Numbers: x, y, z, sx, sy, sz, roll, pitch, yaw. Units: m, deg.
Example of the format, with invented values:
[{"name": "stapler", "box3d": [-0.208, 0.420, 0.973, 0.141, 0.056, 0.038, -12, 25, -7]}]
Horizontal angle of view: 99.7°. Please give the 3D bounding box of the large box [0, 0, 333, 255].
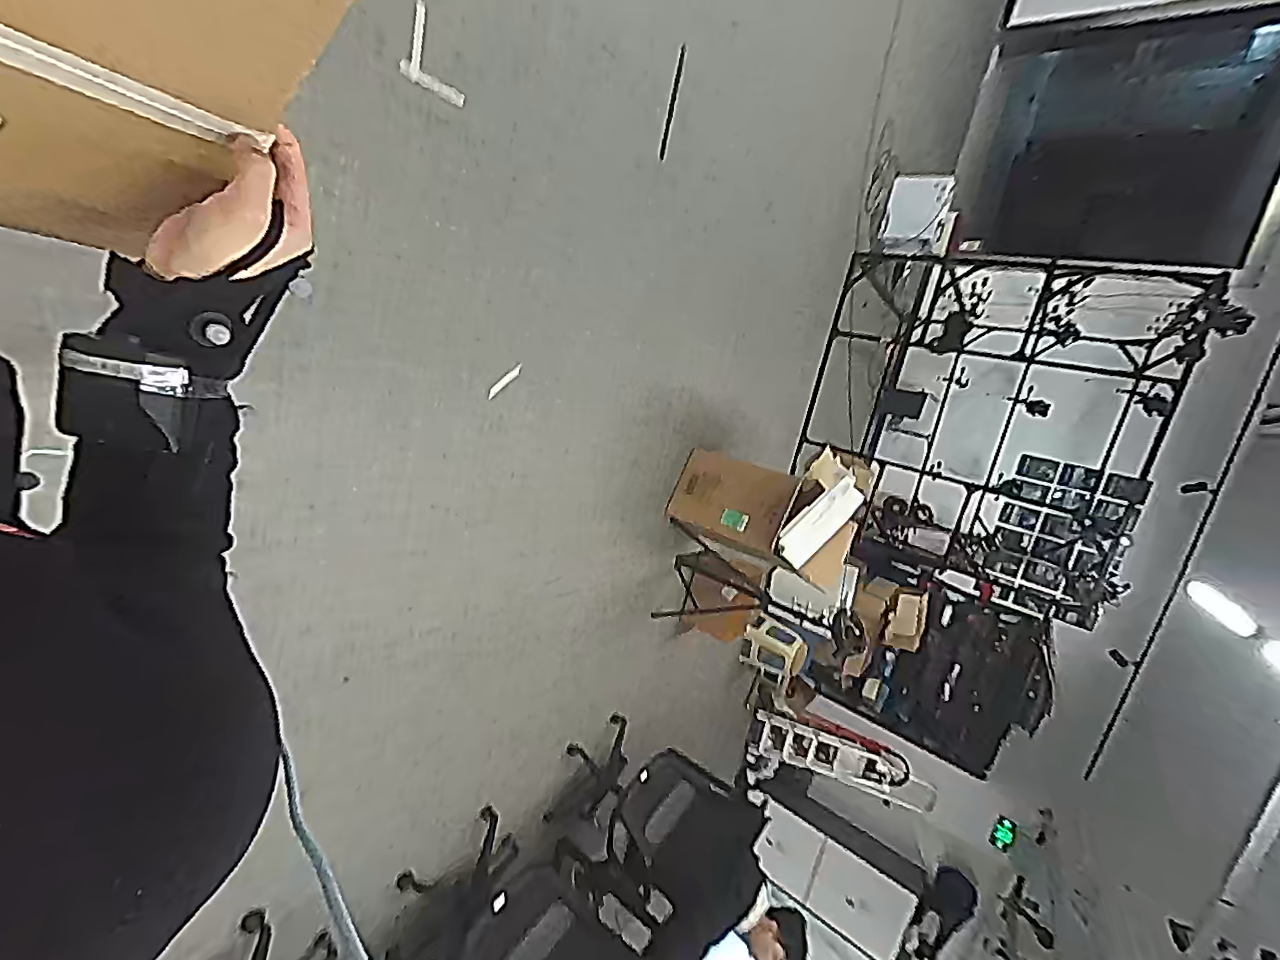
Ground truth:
[{"name": "large box", "box3d": [-0.394, -0.354, 0.201, 0.408, 0.320, 0.320, -3, 77, -54]}]
